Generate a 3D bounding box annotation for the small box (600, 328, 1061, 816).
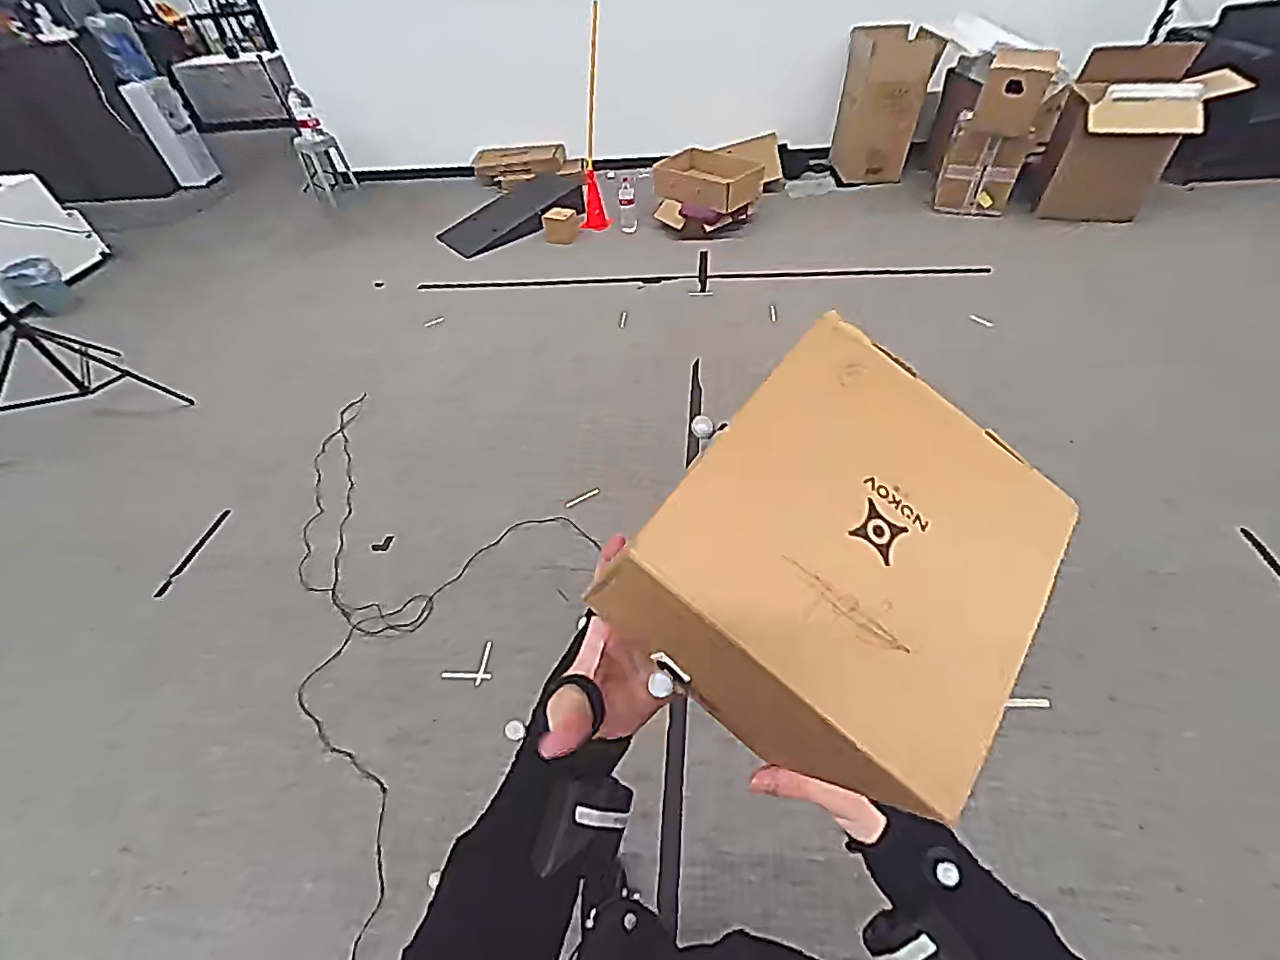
[{"bbox_3d":[0.093,0.052,0.330,0.168,0.176,0.179,40,67,3],"label":"small box"}]
